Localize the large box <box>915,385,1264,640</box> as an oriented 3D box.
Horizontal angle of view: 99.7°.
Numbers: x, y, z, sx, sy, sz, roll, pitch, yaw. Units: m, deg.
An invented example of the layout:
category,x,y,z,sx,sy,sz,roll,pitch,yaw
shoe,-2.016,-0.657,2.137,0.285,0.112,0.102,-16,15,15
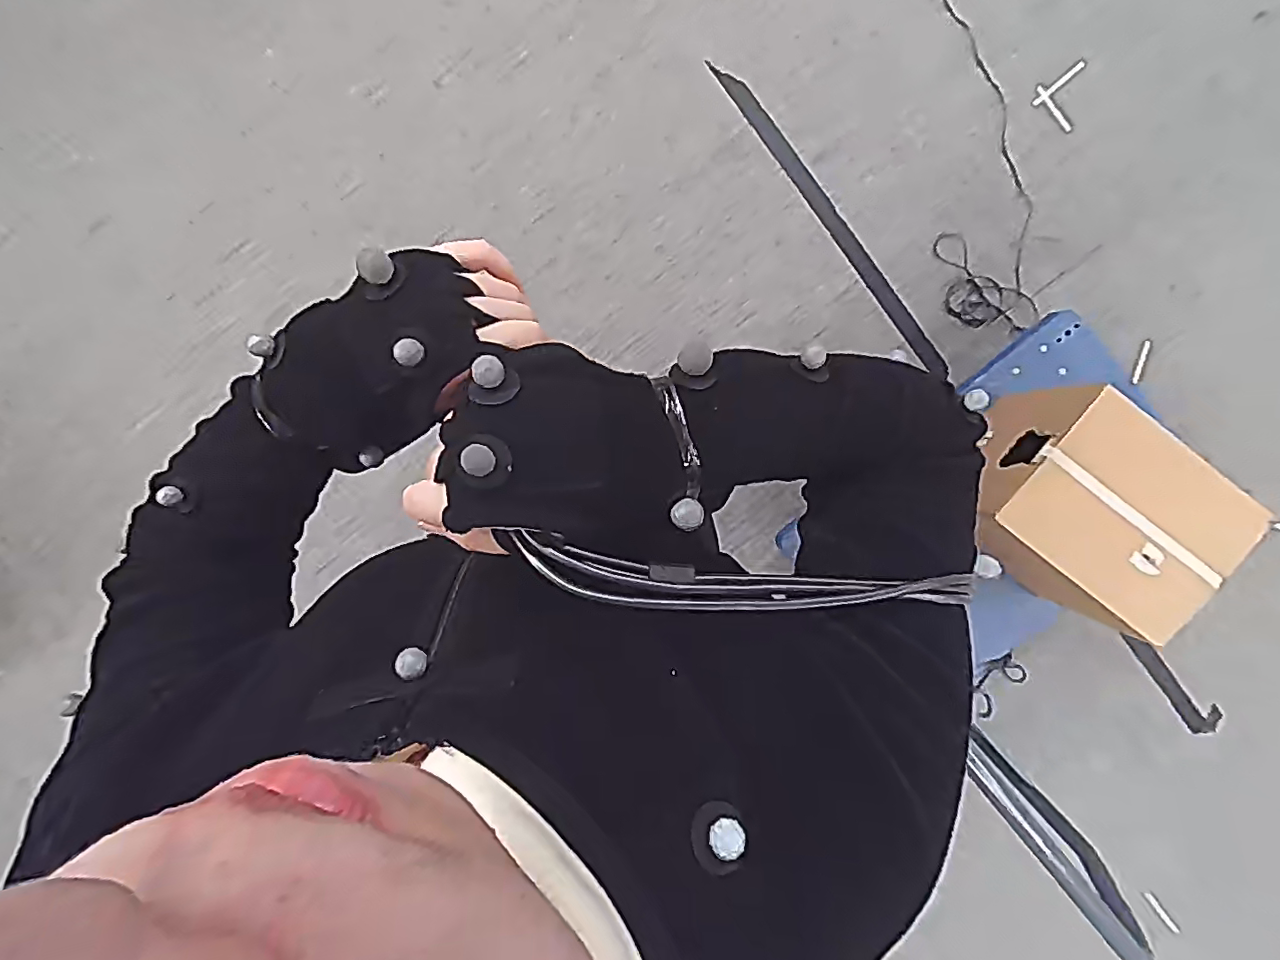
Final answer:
category,x,y,z,sx,sy,sz,roll,pitch,yaw
large box,0.891,0.050,1.136,0.408,0.320,0.320,38,96,-2
